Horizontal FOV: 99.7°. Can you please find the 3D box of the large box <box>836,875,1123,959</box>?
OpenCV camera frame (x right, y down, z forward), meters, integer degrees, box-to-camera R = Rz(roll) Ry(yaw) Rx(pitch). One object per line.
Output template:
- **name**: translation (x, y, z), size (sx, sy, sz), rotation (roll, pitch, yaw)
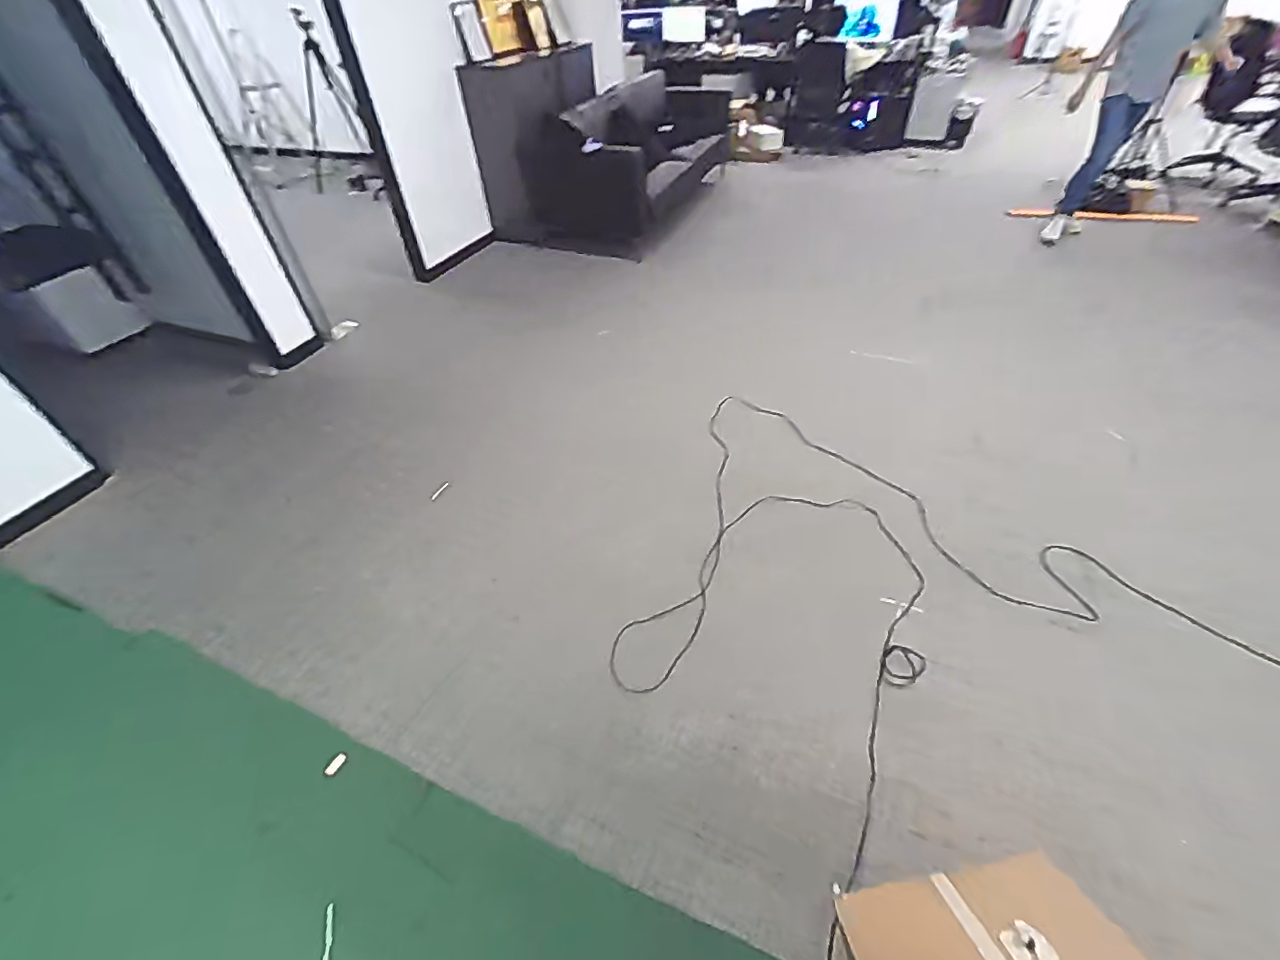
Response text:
- **large box**: translation (0.465, 0.753, 0.592), size (0.320, 0.320, 0.408), rotation (-14, -2, 3)
